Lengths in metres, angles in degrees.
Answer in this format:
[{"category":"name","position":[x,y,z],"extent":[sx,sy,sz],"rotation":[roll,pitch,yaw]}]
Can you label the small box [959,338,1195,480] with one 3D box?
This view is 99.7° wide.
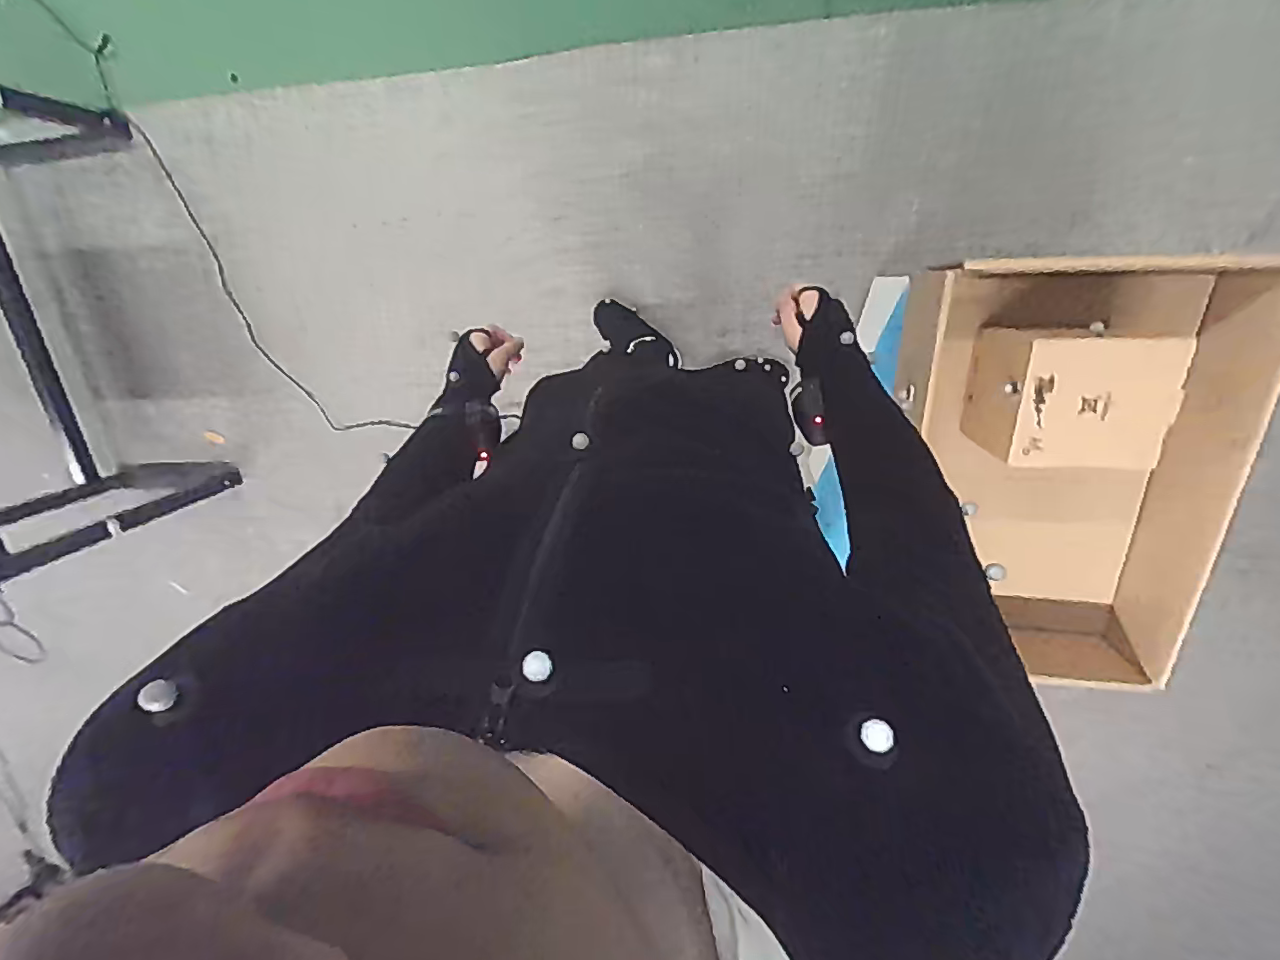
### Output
[{"category":"small box","position":[0.578,-0.106,0.746],"extent":[0.179,0.176,0.168],"rotation":[2,109,9]}]
